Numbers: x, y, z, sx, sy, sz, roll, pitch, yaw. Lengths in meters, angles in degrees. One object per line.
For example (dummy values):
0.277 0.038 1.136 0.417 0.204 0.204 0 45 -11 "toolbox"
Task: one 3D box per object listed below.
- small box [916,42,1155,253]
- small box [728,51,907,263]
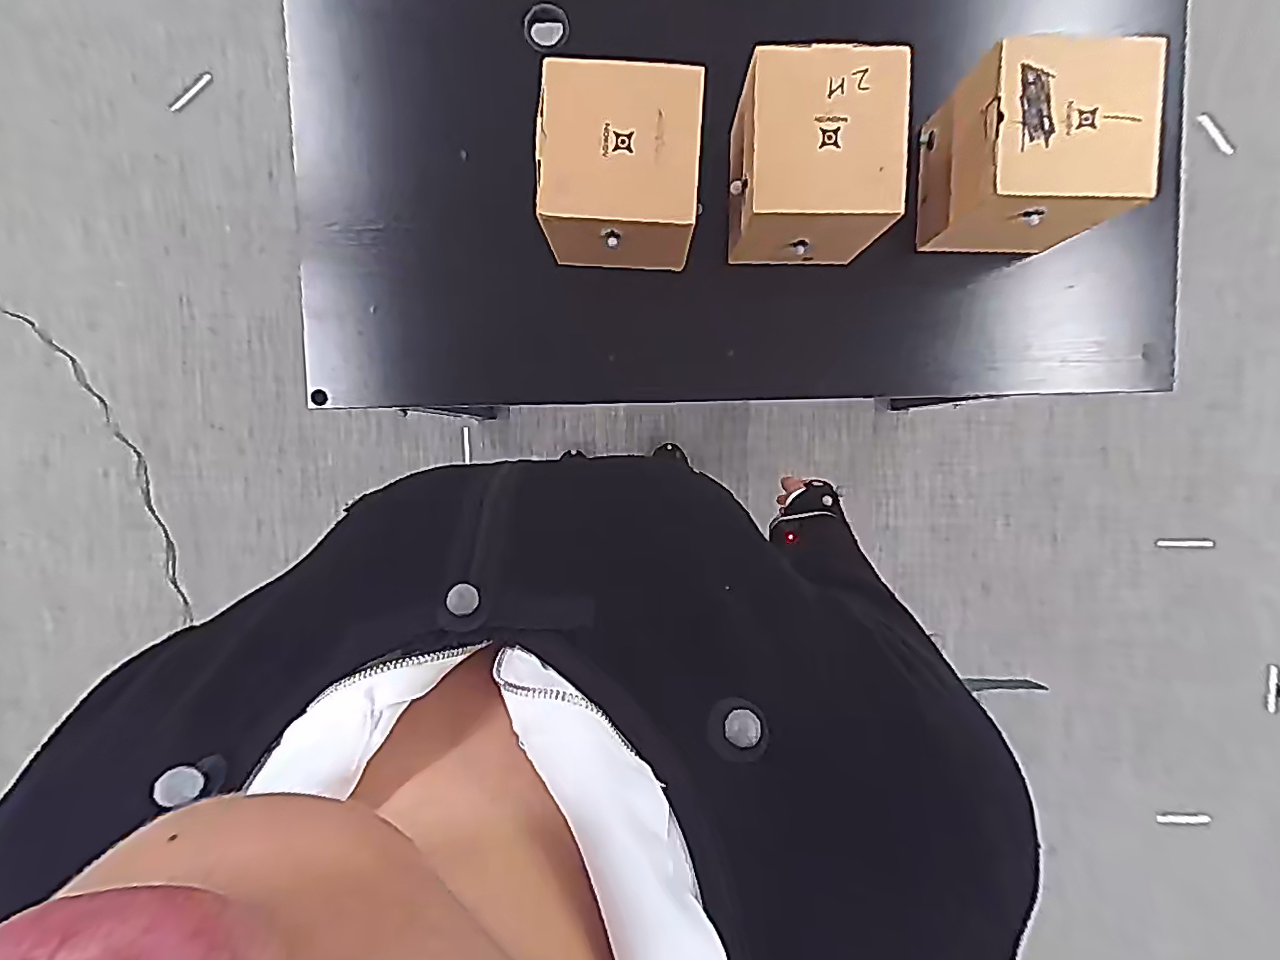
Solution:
0.466 -0.392 0.666 0.179 0.176 0.168 1 93 0 "small box"
0.205 -0.381 0.669 0.168 0.176 0.179 1 93 0 "small box"
